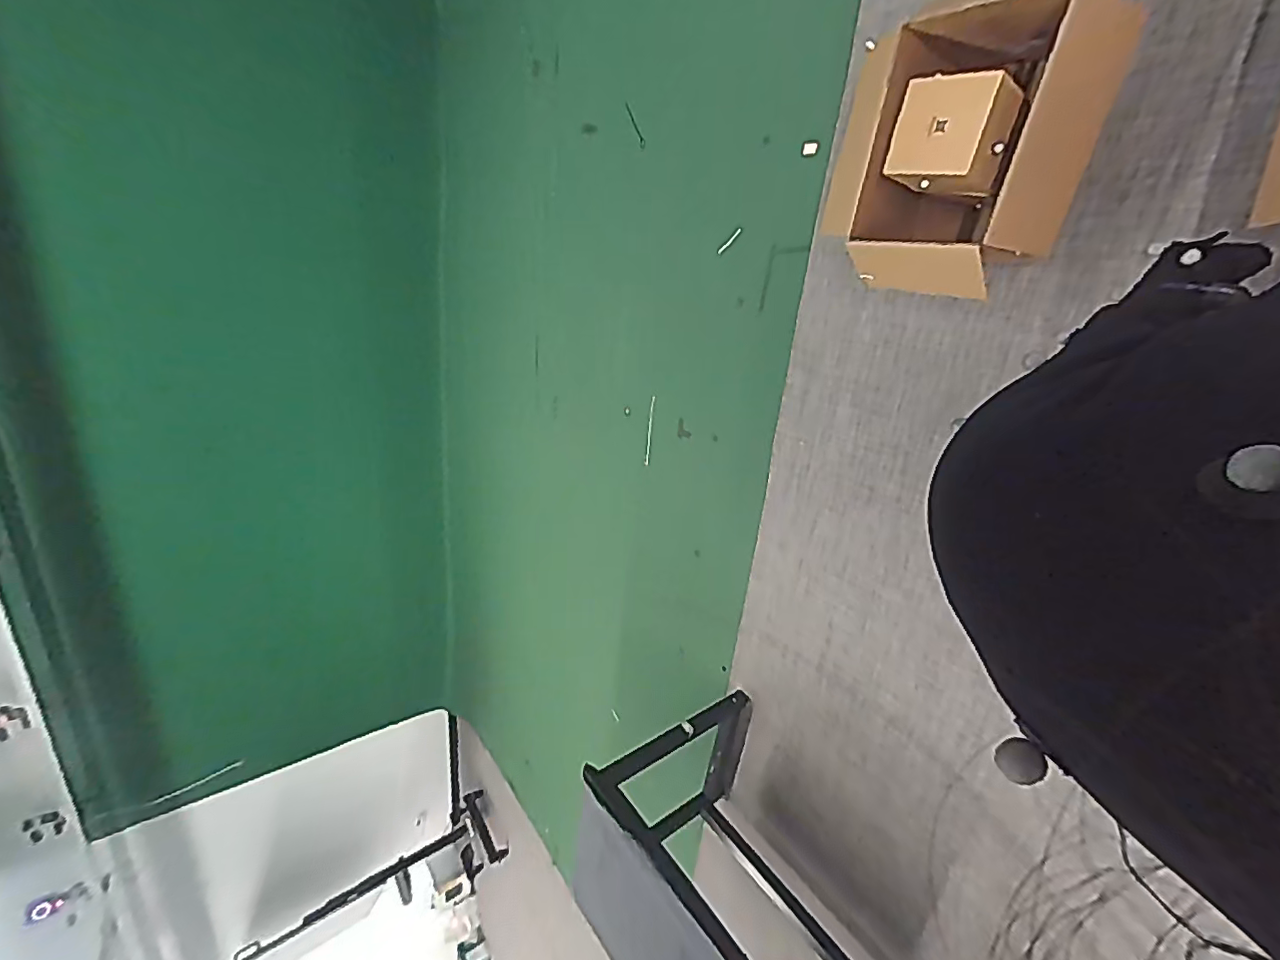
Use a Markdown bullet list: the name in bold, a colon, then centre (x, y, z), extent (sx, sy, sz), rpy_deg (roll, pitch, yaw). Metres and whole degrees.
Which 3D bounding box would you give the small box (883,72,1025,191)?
- **small box**: centre (0.633, -0.690, 1.089), extent (0.179, 0.176, 0.168), rpy_deg (31, 121, 43)
